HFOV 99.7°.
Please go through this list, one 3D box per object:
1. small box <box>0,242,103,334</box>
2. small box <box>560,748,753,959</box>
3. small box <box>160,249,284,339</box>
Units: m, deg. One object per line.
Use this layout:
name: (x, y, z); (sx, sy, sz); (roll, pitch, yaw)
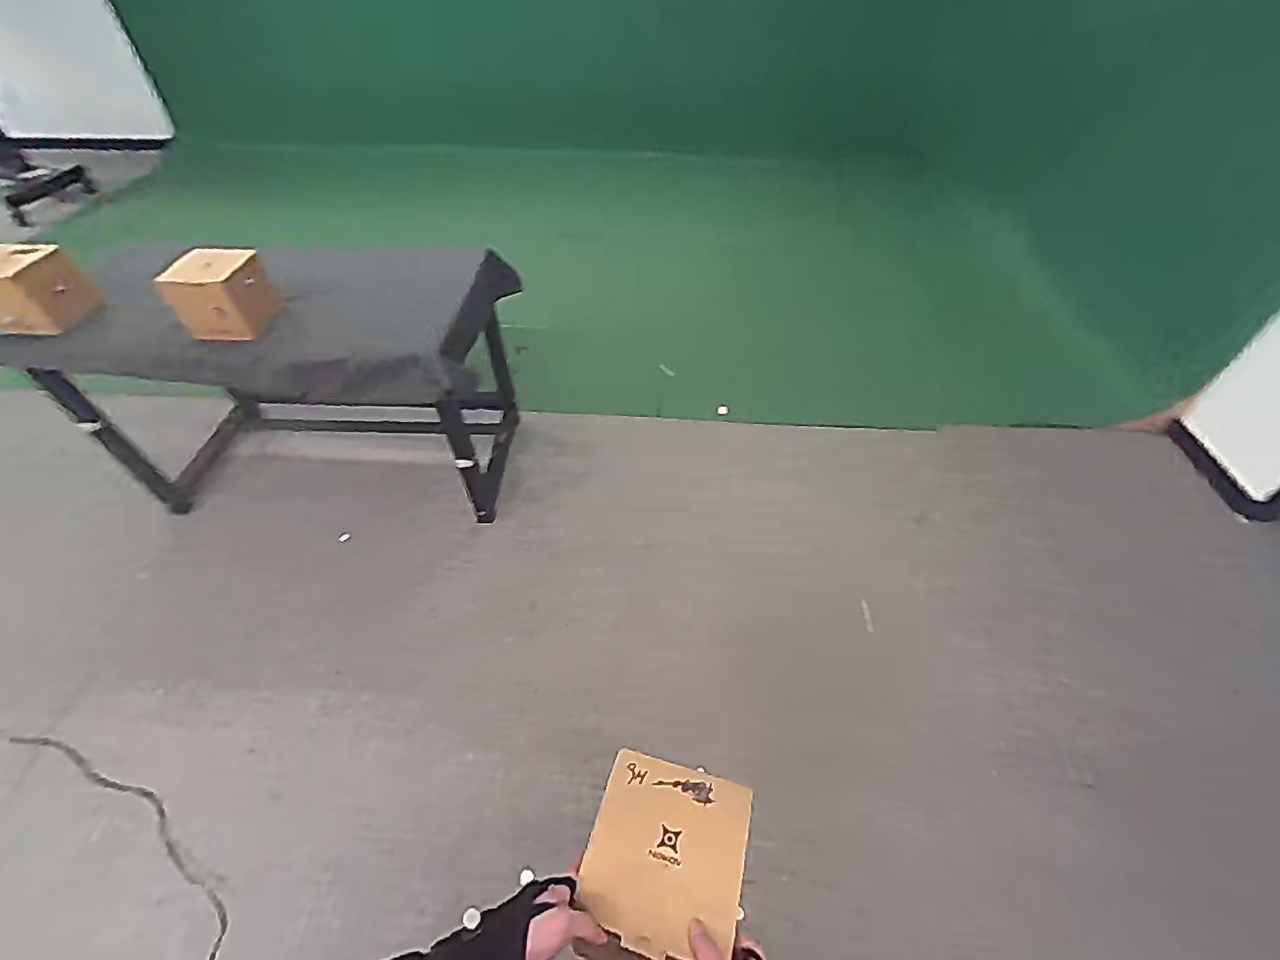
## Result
small box: (-1.610, -0.512, 1.444); (0.168, 0.176, 0.179); (2, 48, 2)
small box: (0.025, 0.447, 0.612); (0.168, 0.176, 0.179); (11, 41, 13)
small box: (-1.088, -0.490, 1.430); (0.168, 0.176, 0.179); (3, 46, 0)
